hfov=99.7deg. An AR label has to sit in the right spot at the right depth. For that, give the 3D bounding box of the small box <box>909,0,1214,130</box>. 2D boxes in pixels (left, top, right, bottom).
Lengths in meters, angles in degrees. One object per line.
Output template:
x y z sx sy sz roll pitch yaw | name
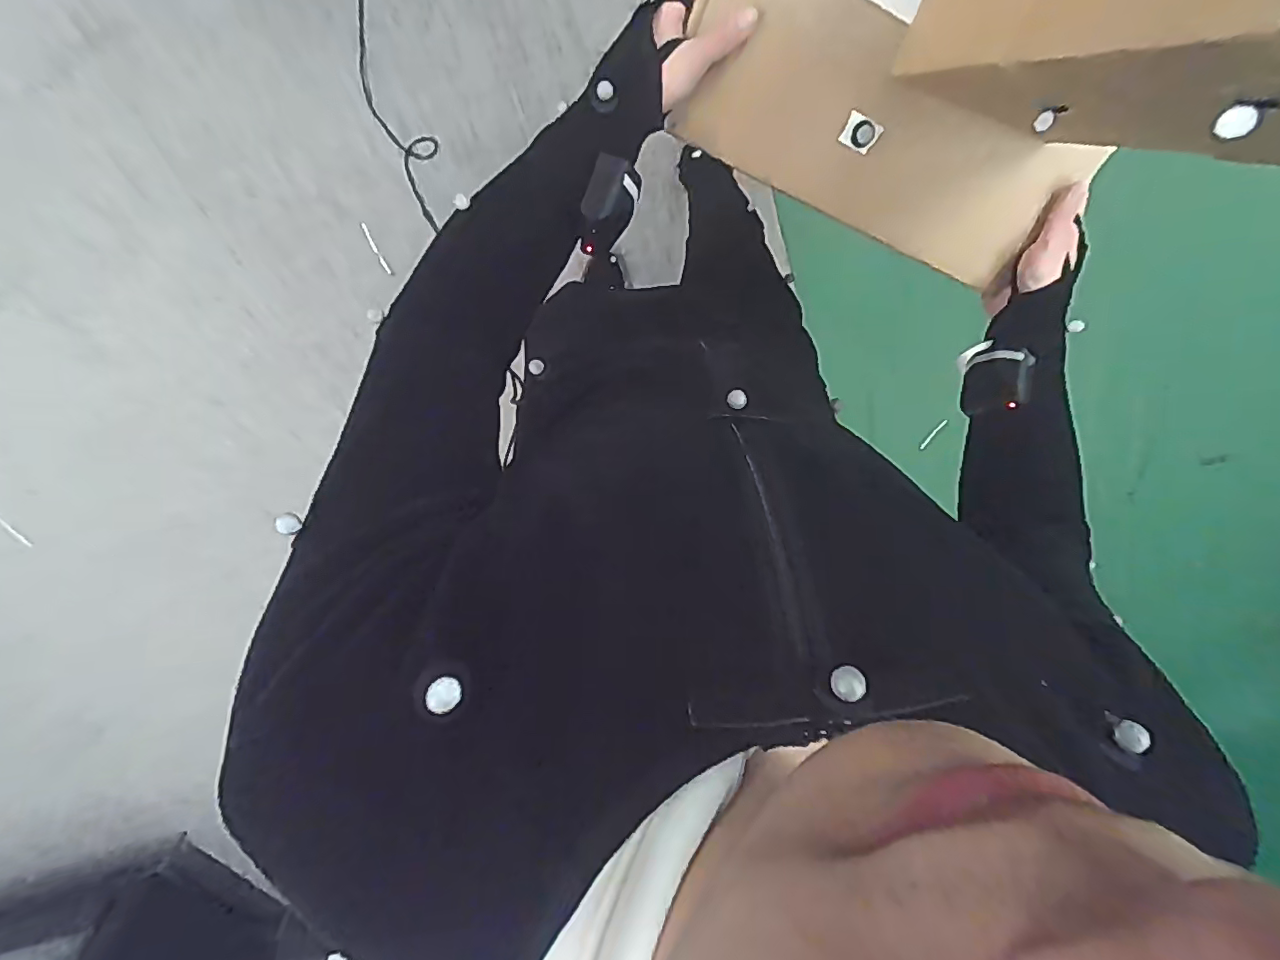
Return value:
0.323 -0.354 0.362 0.179 0.176 0.168 13 123 -10 | small box
